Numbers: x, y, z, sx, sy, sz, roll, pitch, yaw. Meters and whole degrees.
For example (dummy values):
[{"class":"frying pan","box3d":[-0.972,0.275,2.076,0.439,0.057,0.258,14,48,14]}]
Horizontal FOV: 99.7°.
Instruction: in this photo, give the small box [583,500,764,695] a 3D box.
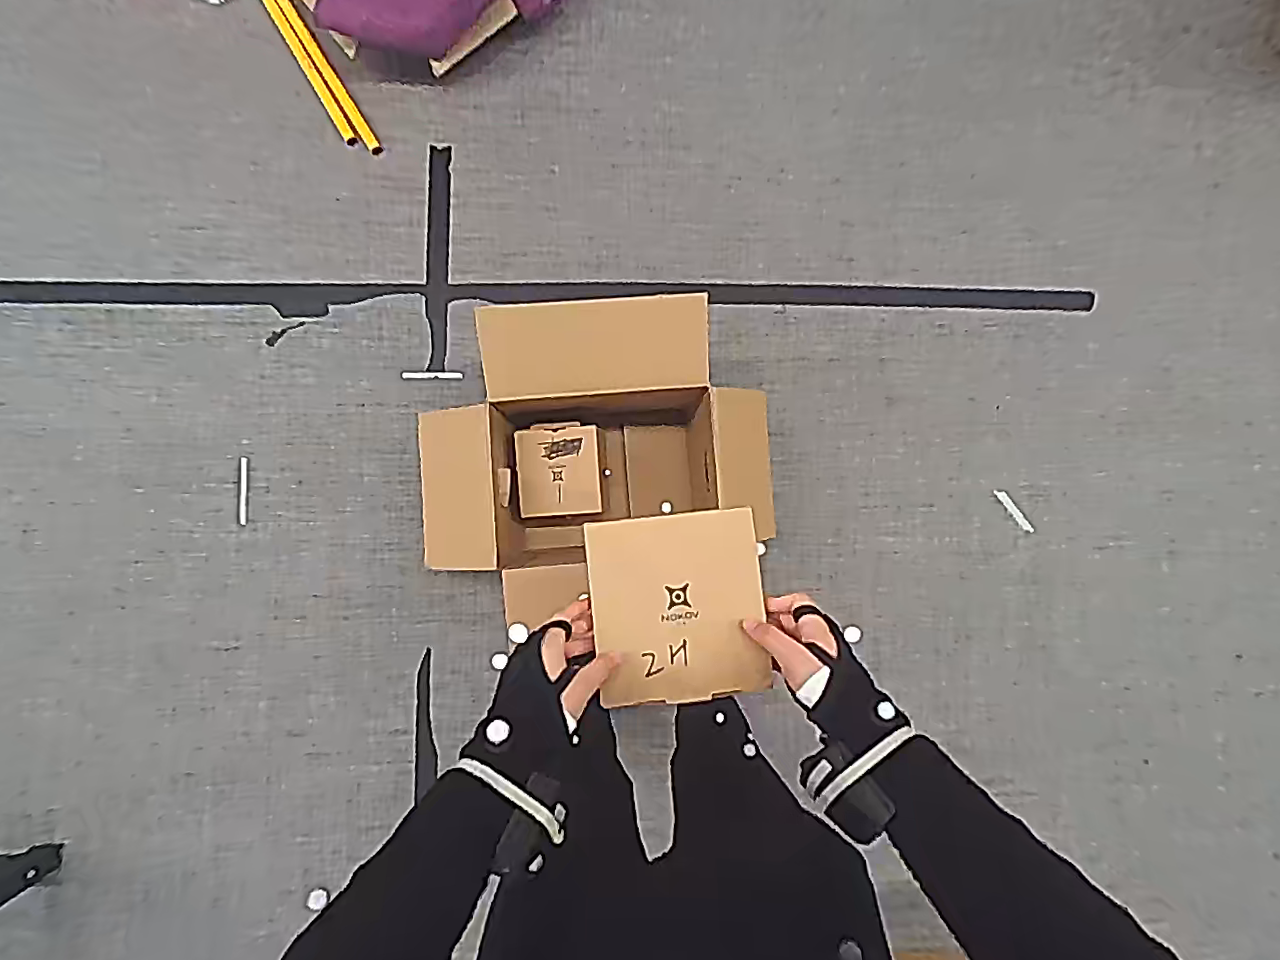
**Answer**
[{"class":"small box","box3d":[0.029,0.121,0.602,0.168,0.176,0.179,-6,84,-1]}]
